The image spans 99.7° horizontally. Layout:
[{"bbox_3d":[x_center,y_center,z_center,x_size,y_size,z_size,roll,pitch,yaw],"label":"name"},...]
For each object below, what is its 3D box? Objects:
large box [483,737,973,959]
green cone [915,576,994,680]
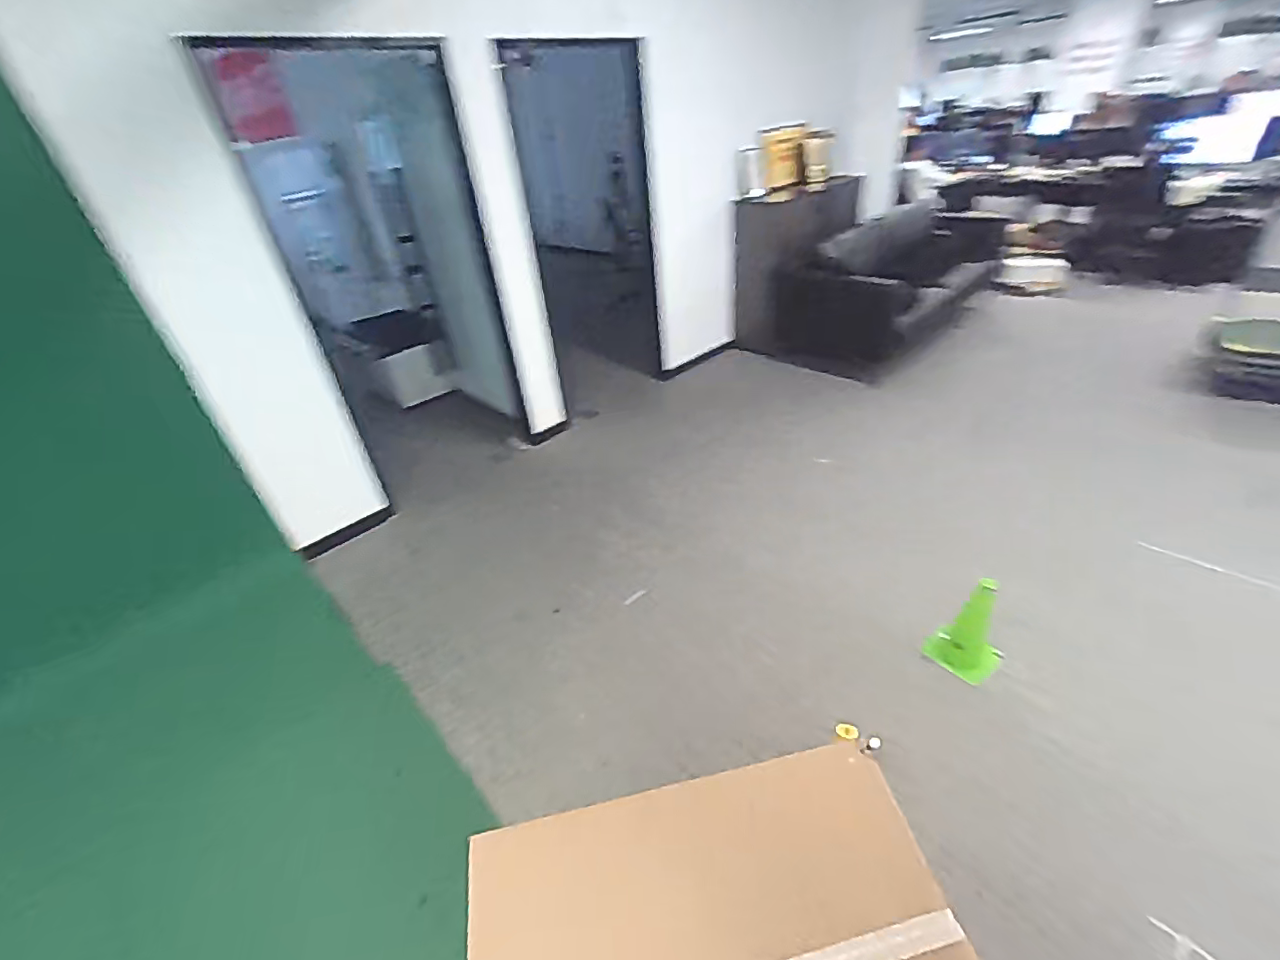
[{"bbox_3d":[0.077,0.515,0.540,0.408,0.320,0.320,-9,45,-8],"label":"large box"},{"bbox_3d":[1.101,0.462,1.833,0.202,0.368,0.200,-29,39,-27],"label":"green cone"}]
